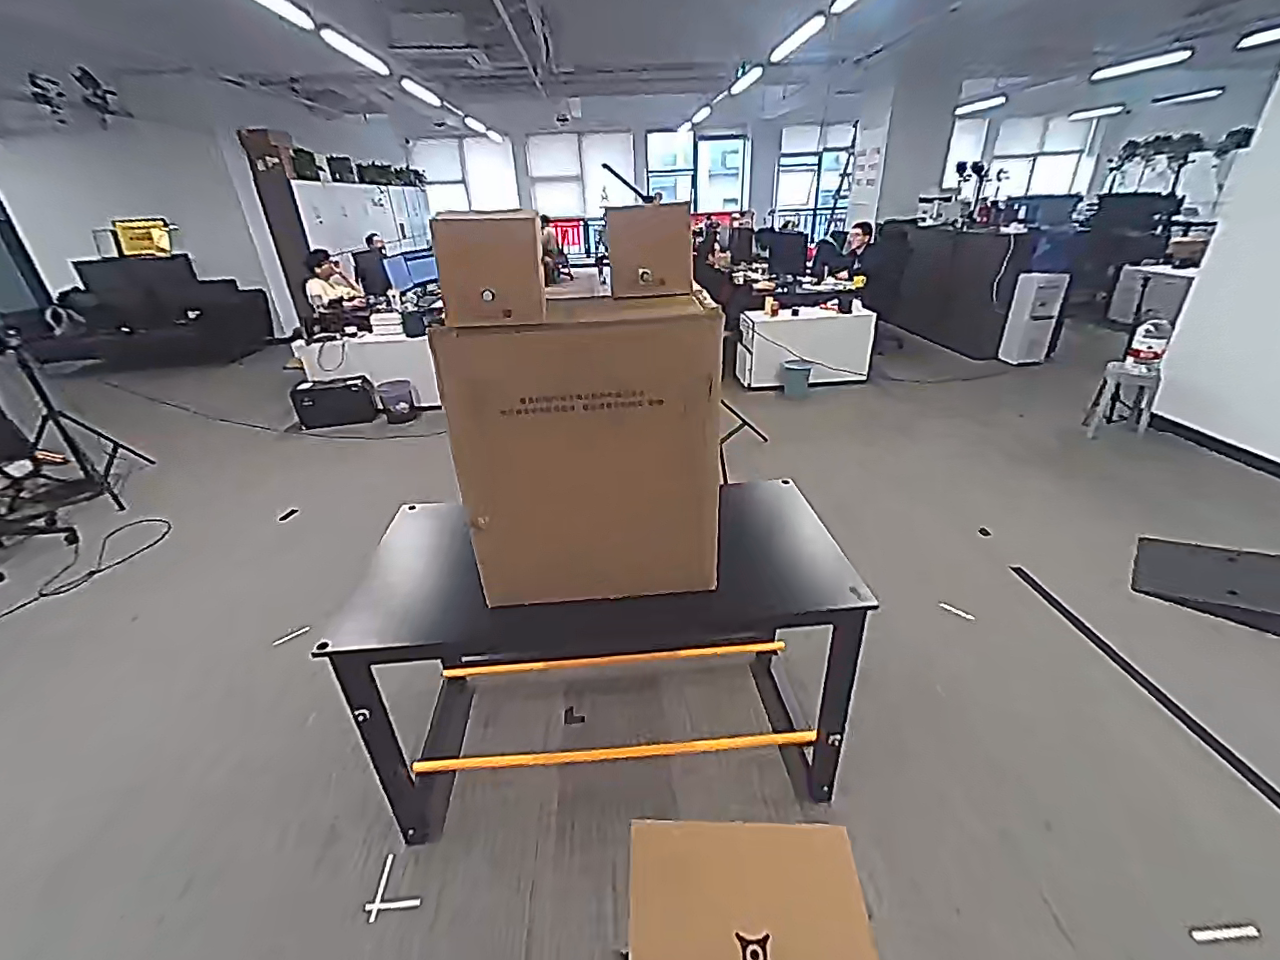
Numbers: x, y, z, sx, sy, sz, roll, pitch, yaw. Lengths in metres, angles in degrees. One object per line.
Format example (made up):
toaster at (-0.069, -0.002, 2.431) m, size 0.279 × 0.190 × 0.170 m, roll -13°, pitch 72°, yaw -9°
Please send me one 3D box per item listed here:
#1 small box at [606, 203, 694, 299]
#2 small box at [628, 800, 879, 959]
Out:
small box at (0.021, -0.474, 1.121) m, size 0.168 × 0.176 × 0.179 m, roll -5°, pitch 27°, yaw 0°
small box at (0.073, 0.370, 0.406) m, size 0.168 × 0.176 × 0.179 m, roll 1°, pitch 40°, yaw 1°
